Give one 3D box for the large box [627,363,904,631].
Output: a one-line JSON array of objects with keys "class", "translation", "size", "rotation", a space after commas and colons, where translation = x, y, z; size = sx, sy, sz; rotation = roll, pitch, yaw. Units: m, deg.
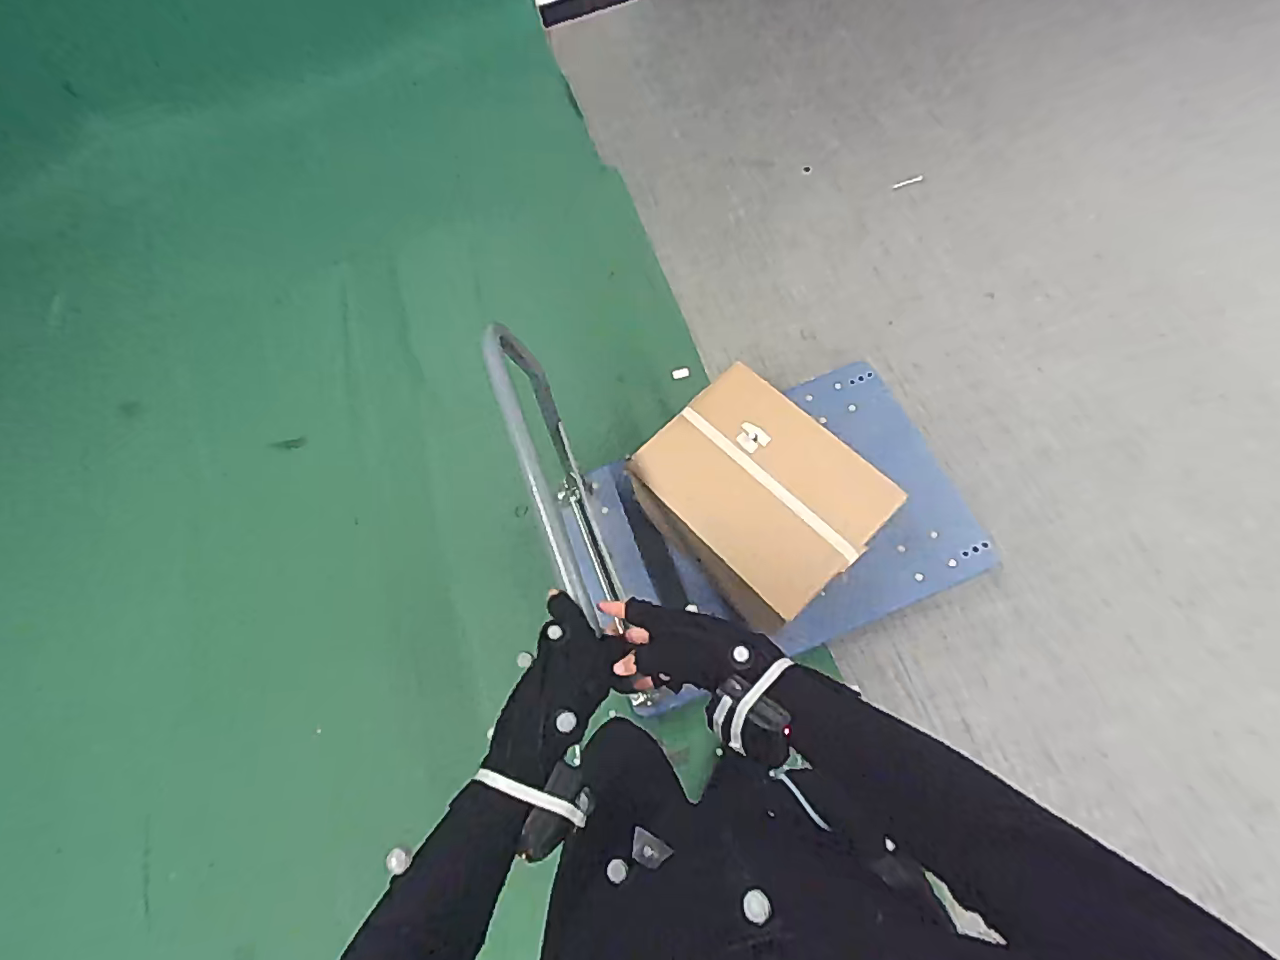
[{"class": "large box", "translation": [0.238, 0.048, 1.114], "size": [0.320, 0.320, 0.408], "rotation": [-42, 69, -10]}]
